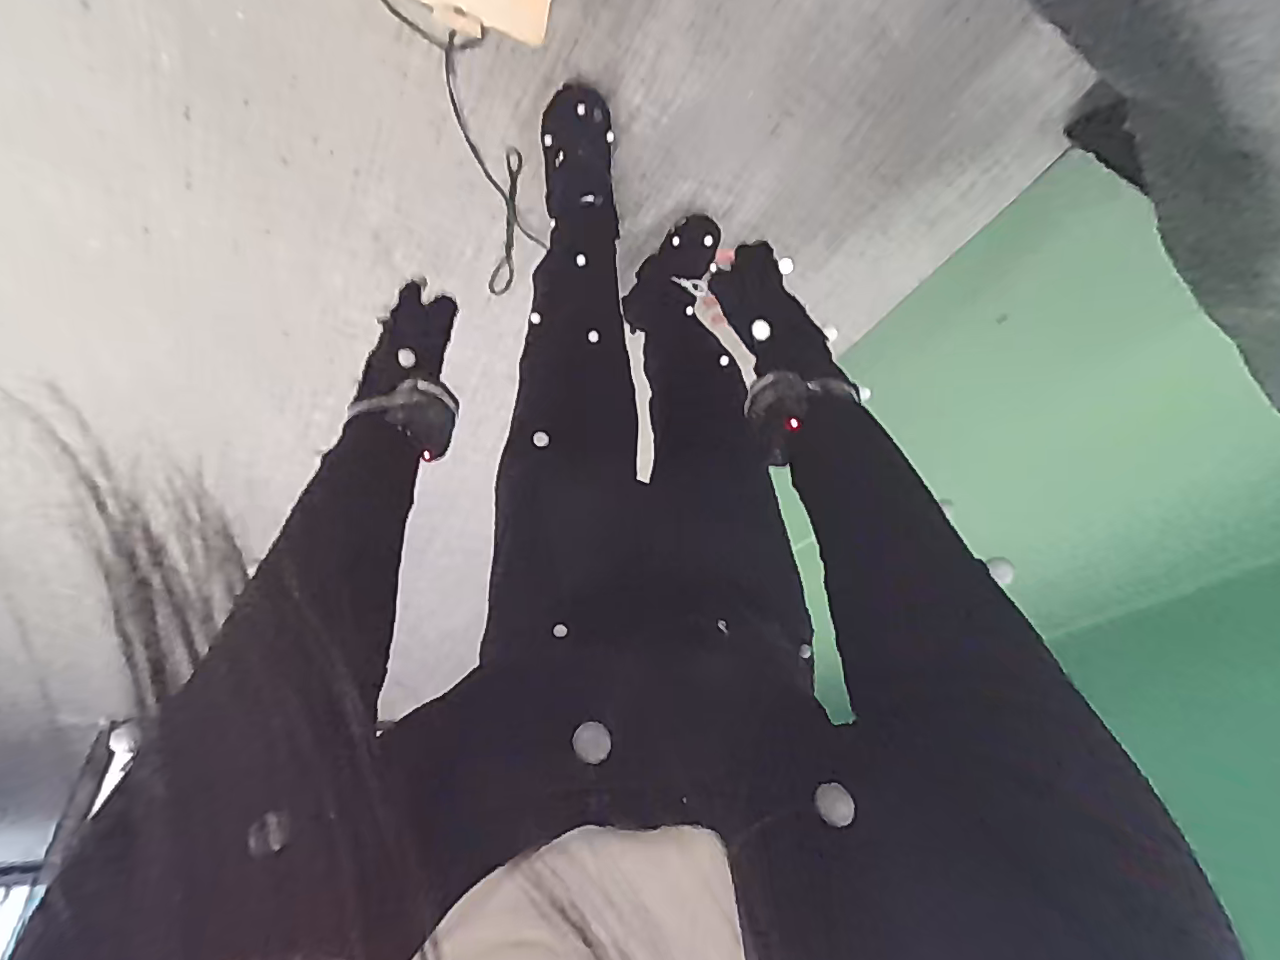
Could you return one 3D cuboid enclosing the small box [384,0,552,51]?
[{"bbox_3d":[-0.155,-0.560,0.512,0.168,0.176,0.179,6,141,-15],"label":"small box"}]
